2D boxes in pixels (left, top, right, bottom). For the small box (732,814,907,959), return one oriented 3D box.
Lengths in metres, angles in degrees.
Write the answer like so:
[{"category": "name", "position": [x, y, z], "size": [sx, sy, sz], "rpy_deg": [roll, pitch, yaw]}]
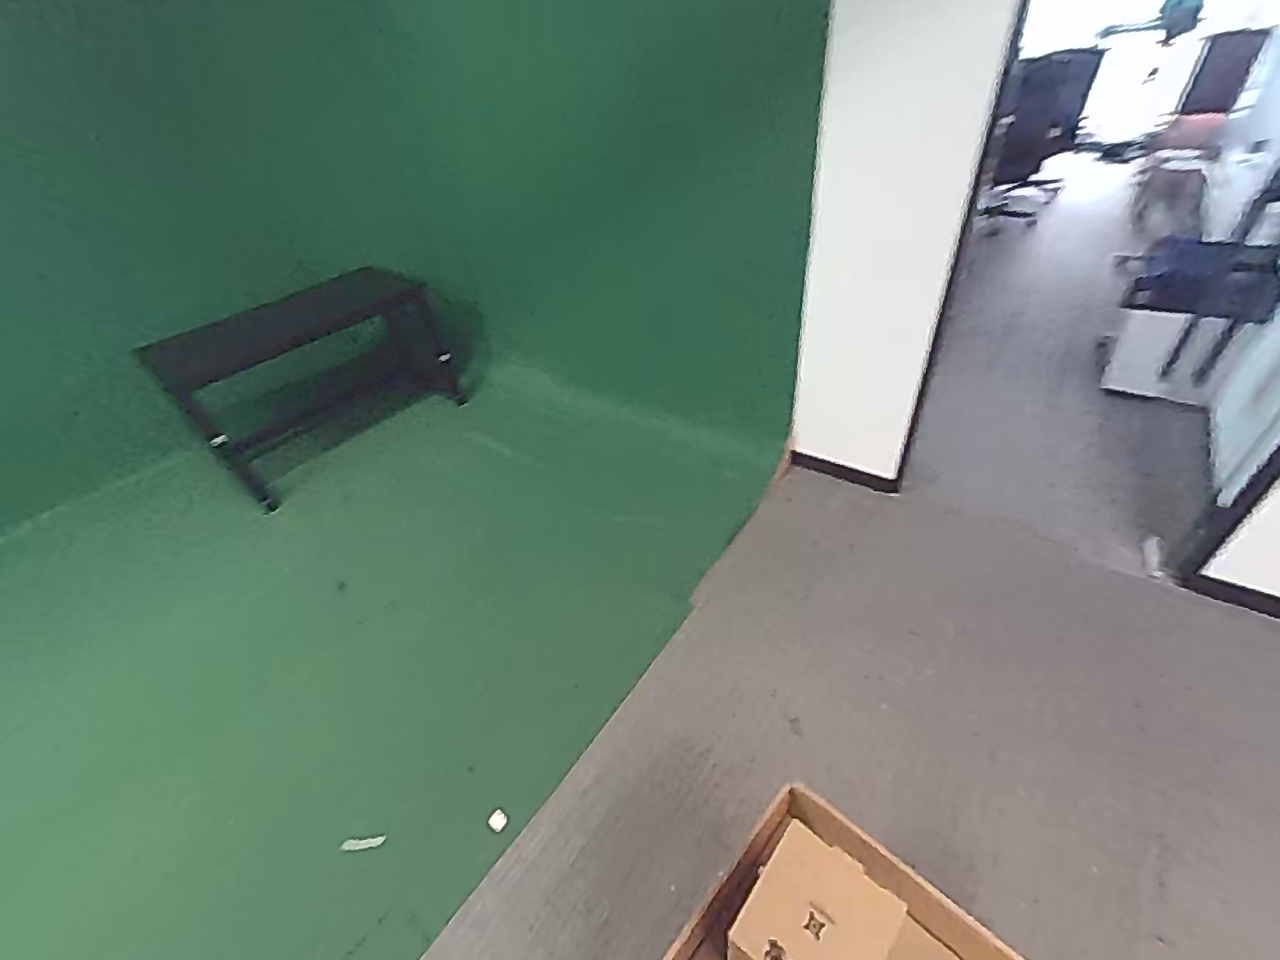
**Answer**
[{"category": "small box", "position": [0.242, 0.625, 0.756], "size": [0.168, 0.176, 0.179], "rpy_deg": [26, 52, 35]}]
